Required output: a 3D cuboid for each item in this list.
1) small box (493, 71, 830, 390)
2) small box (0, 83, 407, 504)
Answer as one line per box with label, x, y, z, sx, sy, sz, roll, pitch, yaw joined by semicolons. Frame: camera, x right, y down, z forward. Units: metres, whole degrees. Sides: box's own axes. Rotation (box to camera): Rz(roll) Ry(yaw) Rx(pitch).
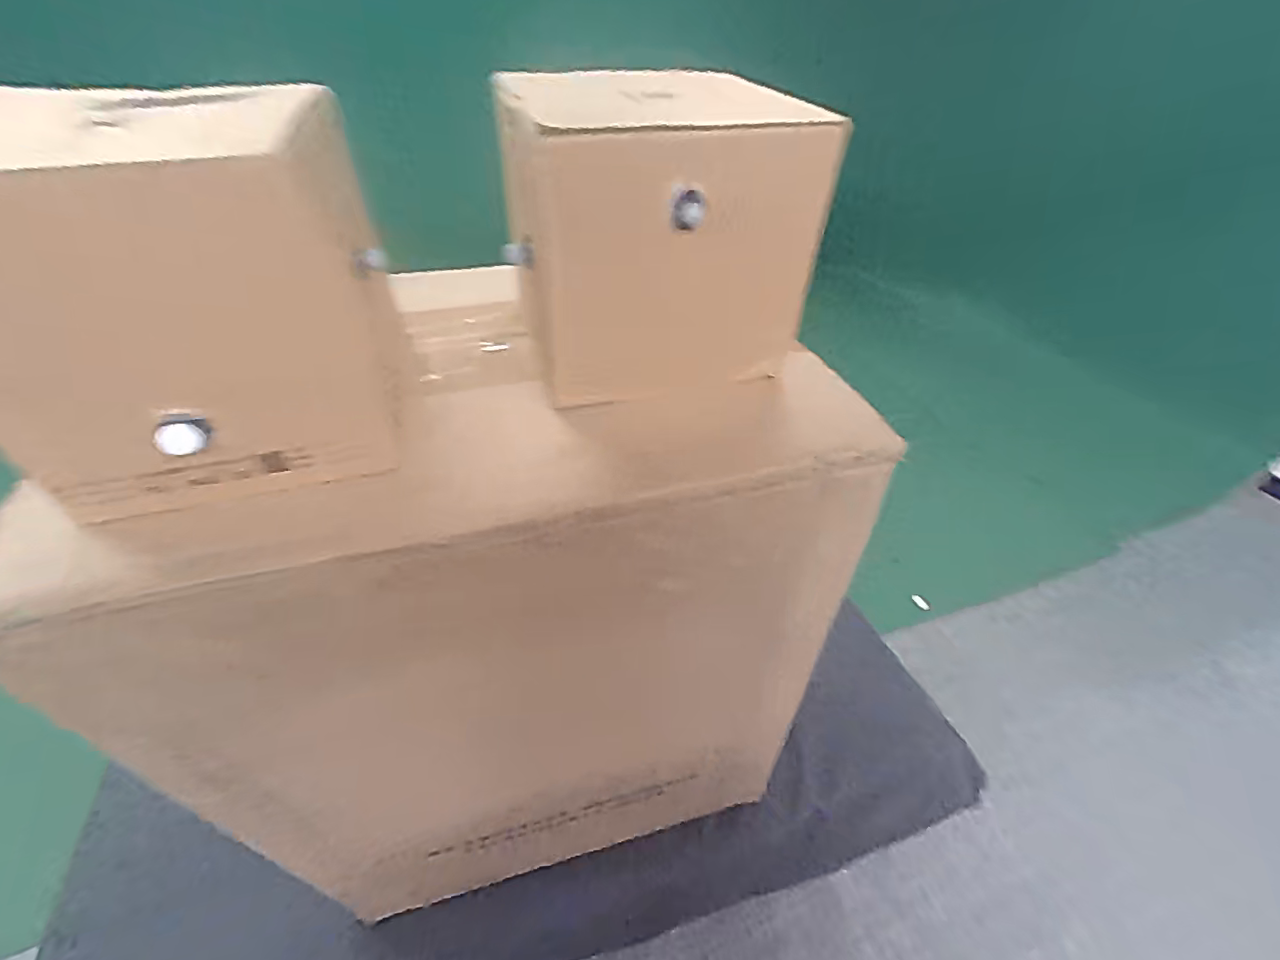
small box;0.000;-0.180;0.393;0.179;0.176;0.168;-10;46;-15
small box;-0.244;-0.113;0.313;0.168;0.176;0.179;-11;46;-12
